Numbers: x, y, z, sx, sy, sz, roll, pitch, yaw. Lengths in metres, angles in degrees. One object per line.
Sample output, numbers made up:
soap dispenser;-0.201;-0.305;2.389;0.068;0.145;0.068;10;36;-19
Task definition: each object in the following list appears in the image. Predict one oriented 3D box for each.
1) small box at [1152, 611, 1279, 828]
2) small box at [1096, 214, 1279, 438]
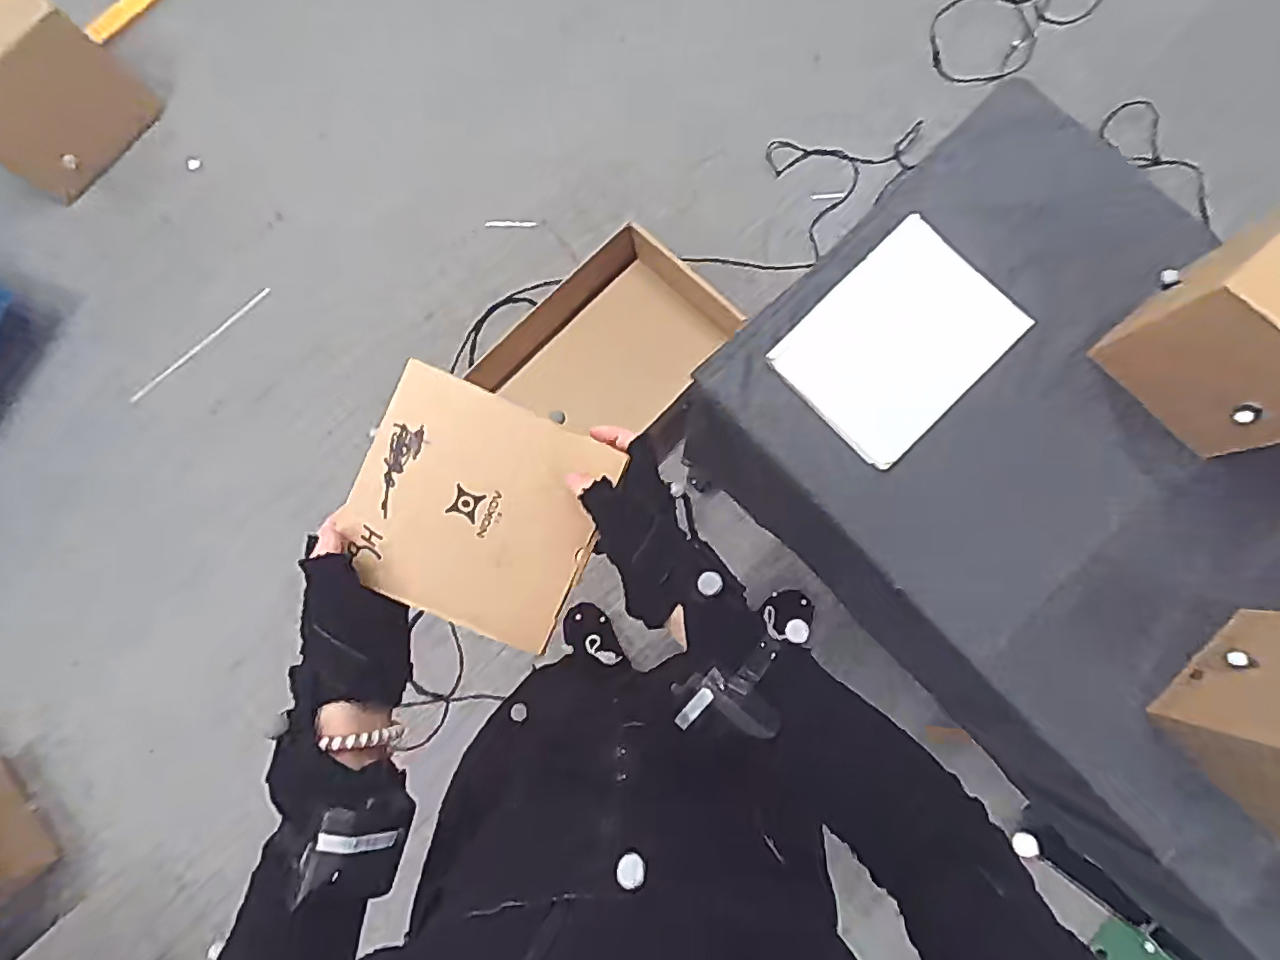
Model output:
small box;0.661;0.239;0.500;0.168;0.176;0.179;-41;81;-5
small box;0.654;-0.160;0.564;0.168;0.176;0.179;-40;82;-4
